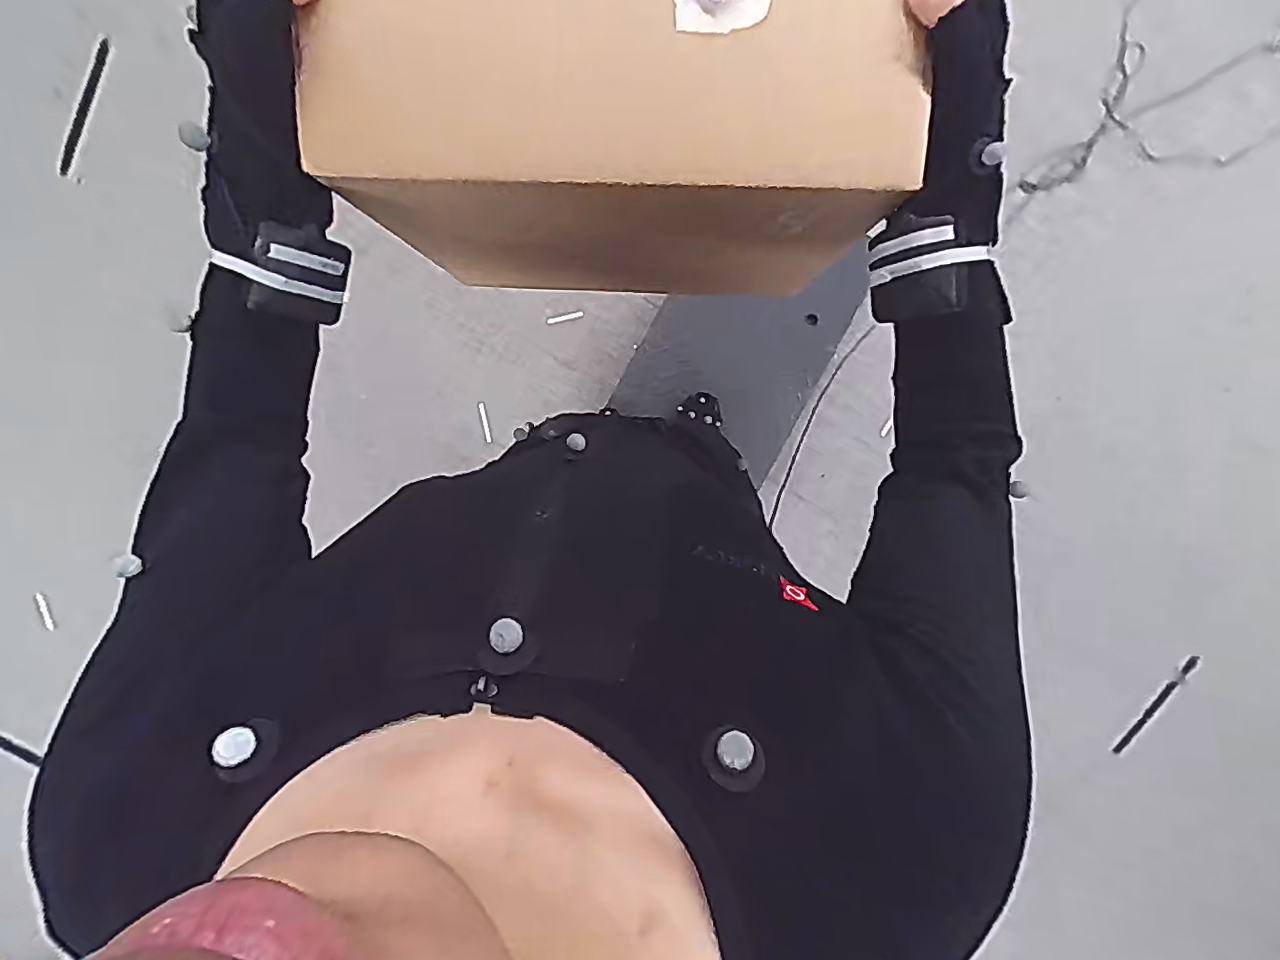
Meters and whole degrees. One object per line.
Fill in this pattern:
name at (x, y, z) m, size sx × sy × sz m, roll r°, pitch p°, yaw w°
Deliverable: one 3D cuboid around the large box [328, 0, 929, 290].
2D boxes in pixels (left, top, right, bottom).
large box at (-0.007, -0.372, 0.500) m, size 0.408 × 0.320 × 0.320 m, roll 2°, pitch 97°, yaw 1°
